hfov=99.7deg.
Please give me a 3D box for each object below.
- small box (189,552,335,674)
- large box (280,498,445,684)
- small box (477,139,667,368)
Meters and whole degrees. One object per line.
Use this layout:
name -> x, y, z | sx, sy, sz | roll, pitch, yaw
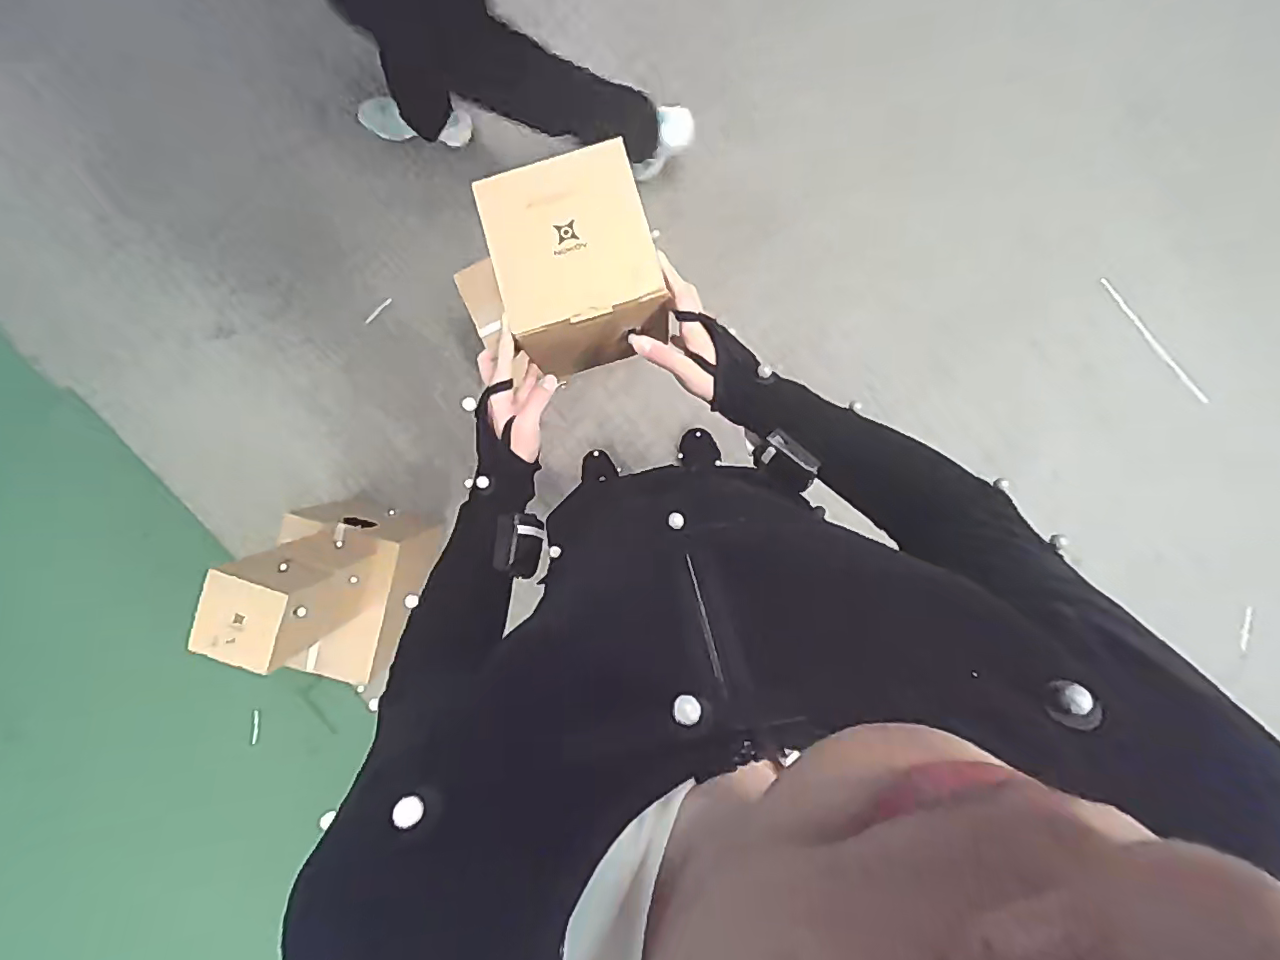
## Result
small box -> -0.776, 0.267, 1.130 | 0.168, 0.176, 0.179 | 20, 96, 0
large box -> -0.795, 0.293, 1.545 | 0.320, 0.320, 0.408 | 15, 97, 2
small box -> -0.066, -0.243, 0.631 | 0.168, 0.176, 0.179 | -15, 85, 2
